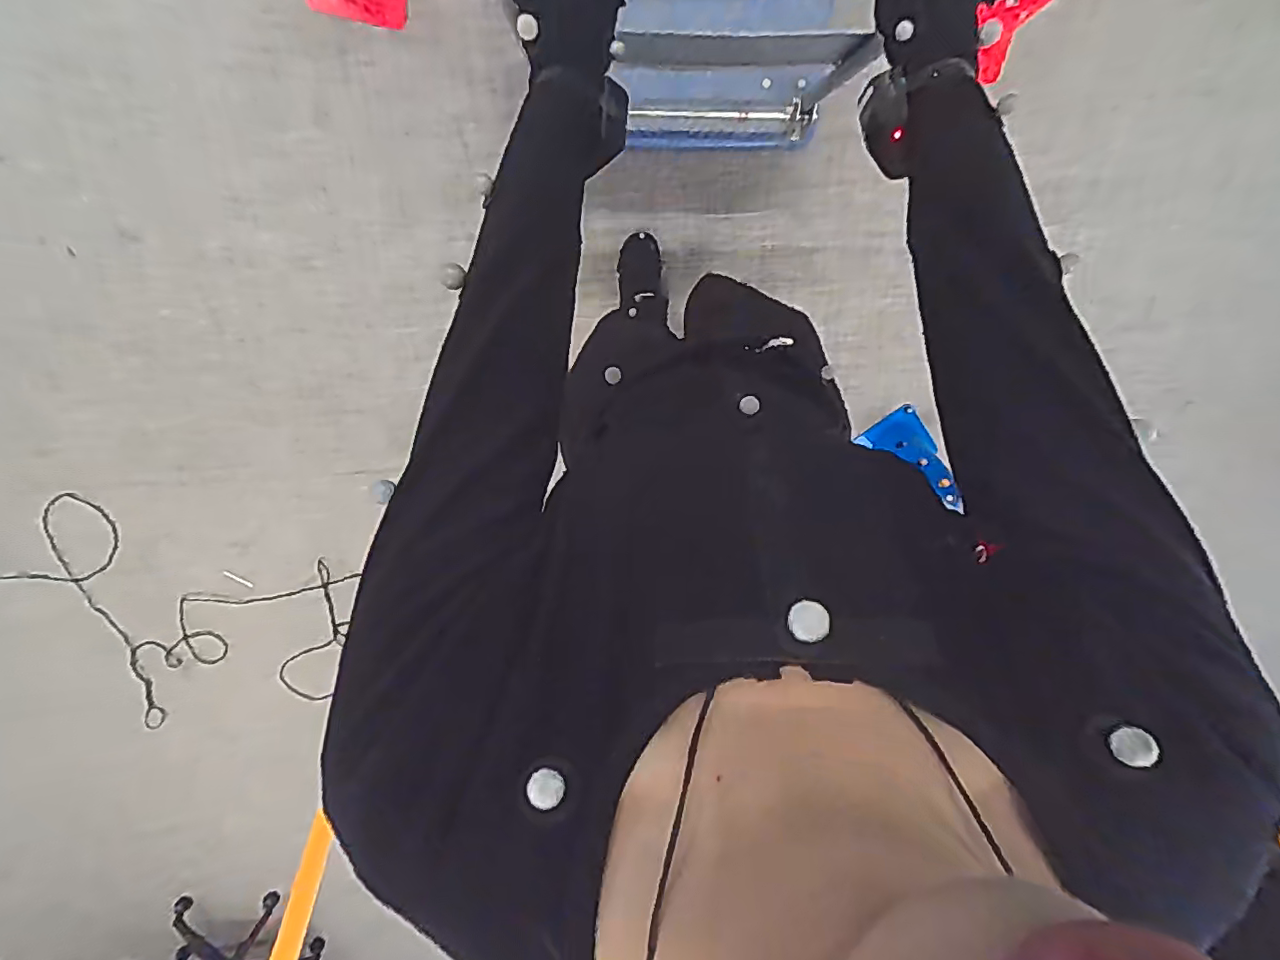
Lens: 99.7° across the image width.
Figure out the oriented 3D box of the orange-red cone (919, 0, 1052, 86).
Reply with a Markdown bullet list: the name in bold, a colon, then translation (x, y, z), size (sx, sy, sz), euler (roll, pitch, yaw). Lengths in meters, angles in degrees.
- **orange-red cone**: translation (0.723, -0.907, 1.004), size (0.198, 0.360, 0.199), euler (8, 114, -5)
